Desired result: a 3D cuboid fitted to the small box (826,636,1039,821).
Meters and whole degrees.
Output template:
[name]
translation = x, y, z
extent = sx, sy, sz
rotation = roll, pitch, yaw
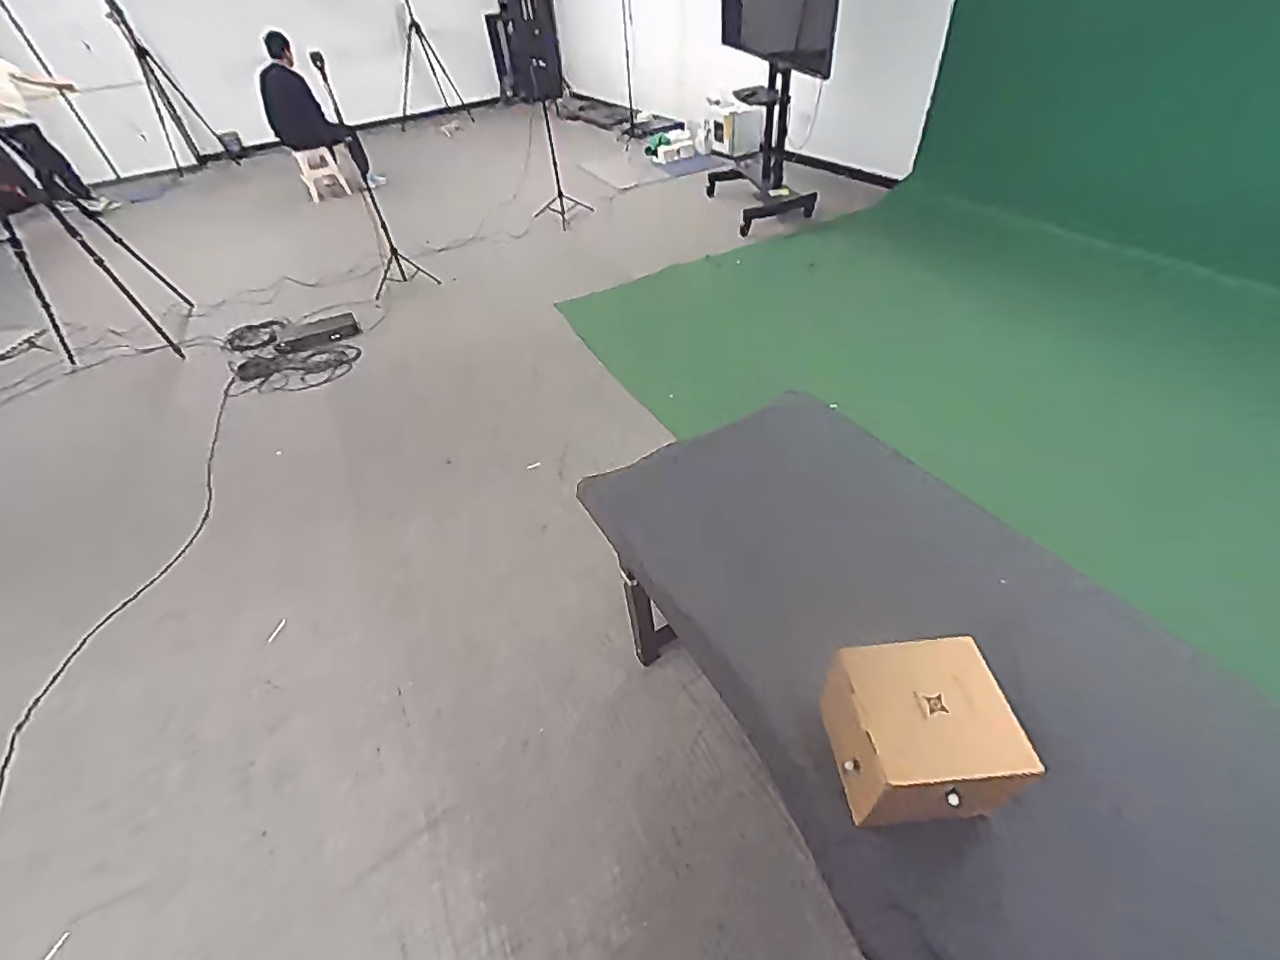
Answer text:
[small box]
translation = 0.354, 0.325, 0.703
extent = 0.179, 0.176, 0.168
rotation = -5, 45, -1
